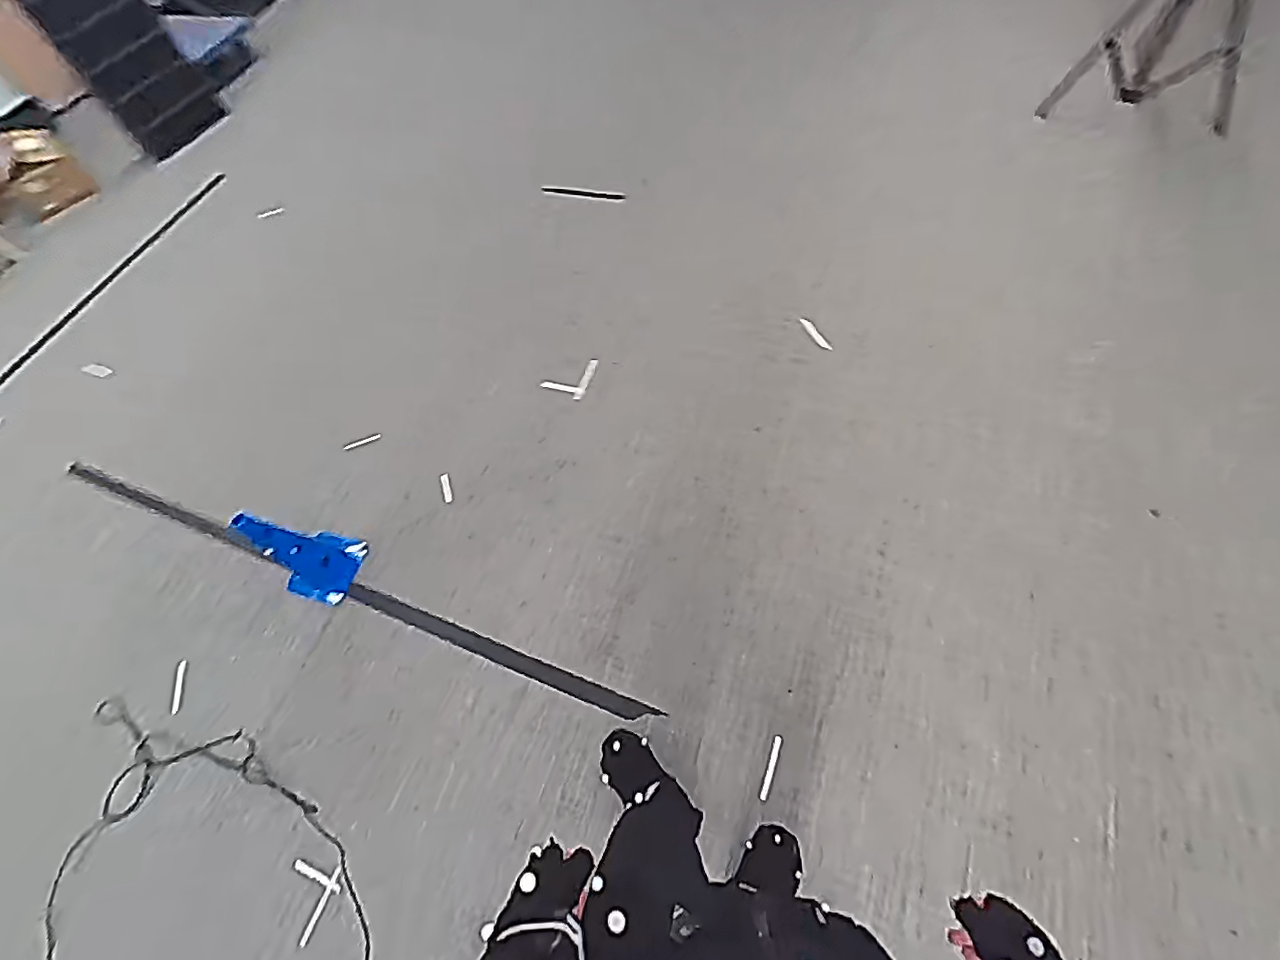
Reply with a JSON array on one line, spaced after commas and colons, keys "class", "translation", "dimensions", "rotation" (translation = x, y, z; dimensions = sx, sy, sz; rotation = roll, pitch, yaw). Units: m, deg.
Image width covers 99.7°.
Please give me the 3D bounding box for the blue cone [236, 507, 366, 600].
[{"class": "blue cone", "translation": [-0.971, 0.183, 1.503], "dimensions": [0.193, 0.380, 0.192], "rotation": [13, 63, 14]}]
